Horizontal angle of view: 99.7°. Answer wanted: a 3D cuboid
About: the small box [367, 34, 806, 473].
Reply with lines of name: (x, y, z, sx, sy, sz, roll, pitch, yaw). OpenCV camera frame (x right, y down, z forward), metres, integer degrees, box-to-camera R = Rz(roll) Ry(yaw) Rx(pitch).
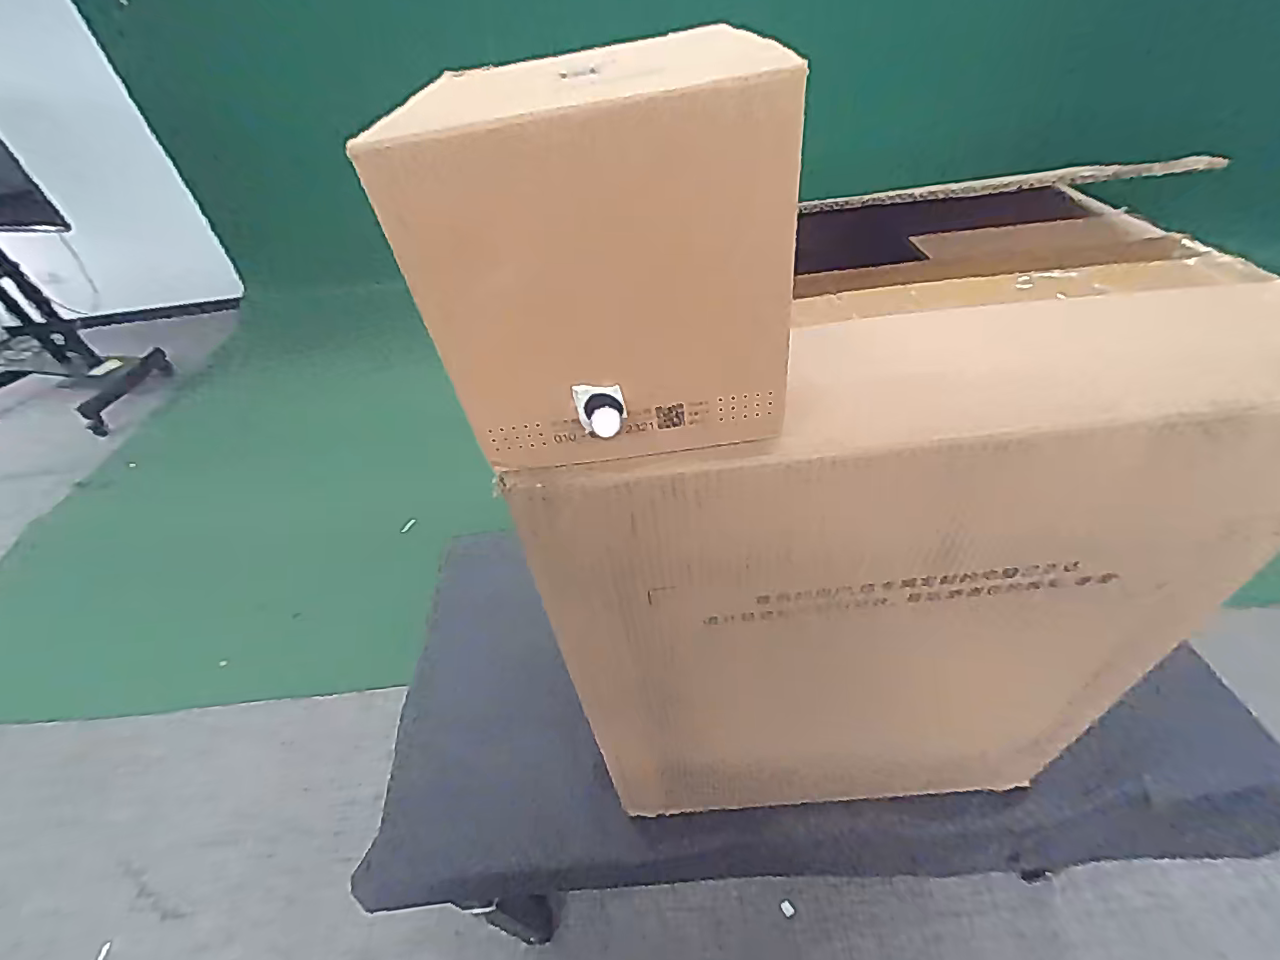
small box: (-0.017, -0.129, 0.310, 0.168, 0.176, 0.179, -10, 44, 2)
